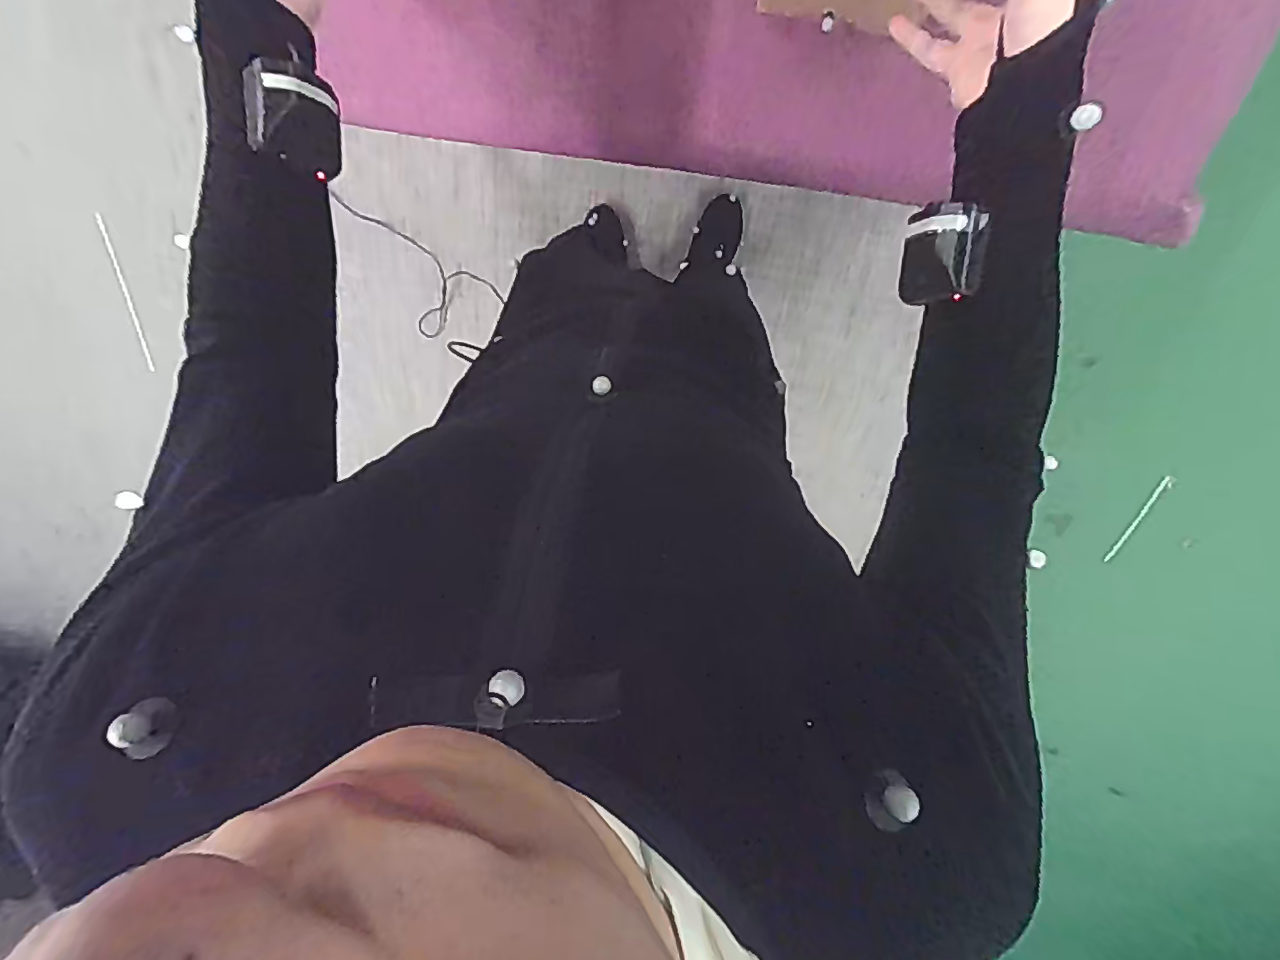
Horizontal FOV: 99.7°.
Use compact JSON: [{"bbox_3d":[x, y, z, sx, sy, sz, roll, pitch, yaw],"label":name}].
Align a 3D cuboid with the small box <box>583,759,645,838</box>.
[{"bbox_3d":[-0.087,1.114,1.899,0.179,0.176,0.168,16,120,-2],"label":"small box"}]
